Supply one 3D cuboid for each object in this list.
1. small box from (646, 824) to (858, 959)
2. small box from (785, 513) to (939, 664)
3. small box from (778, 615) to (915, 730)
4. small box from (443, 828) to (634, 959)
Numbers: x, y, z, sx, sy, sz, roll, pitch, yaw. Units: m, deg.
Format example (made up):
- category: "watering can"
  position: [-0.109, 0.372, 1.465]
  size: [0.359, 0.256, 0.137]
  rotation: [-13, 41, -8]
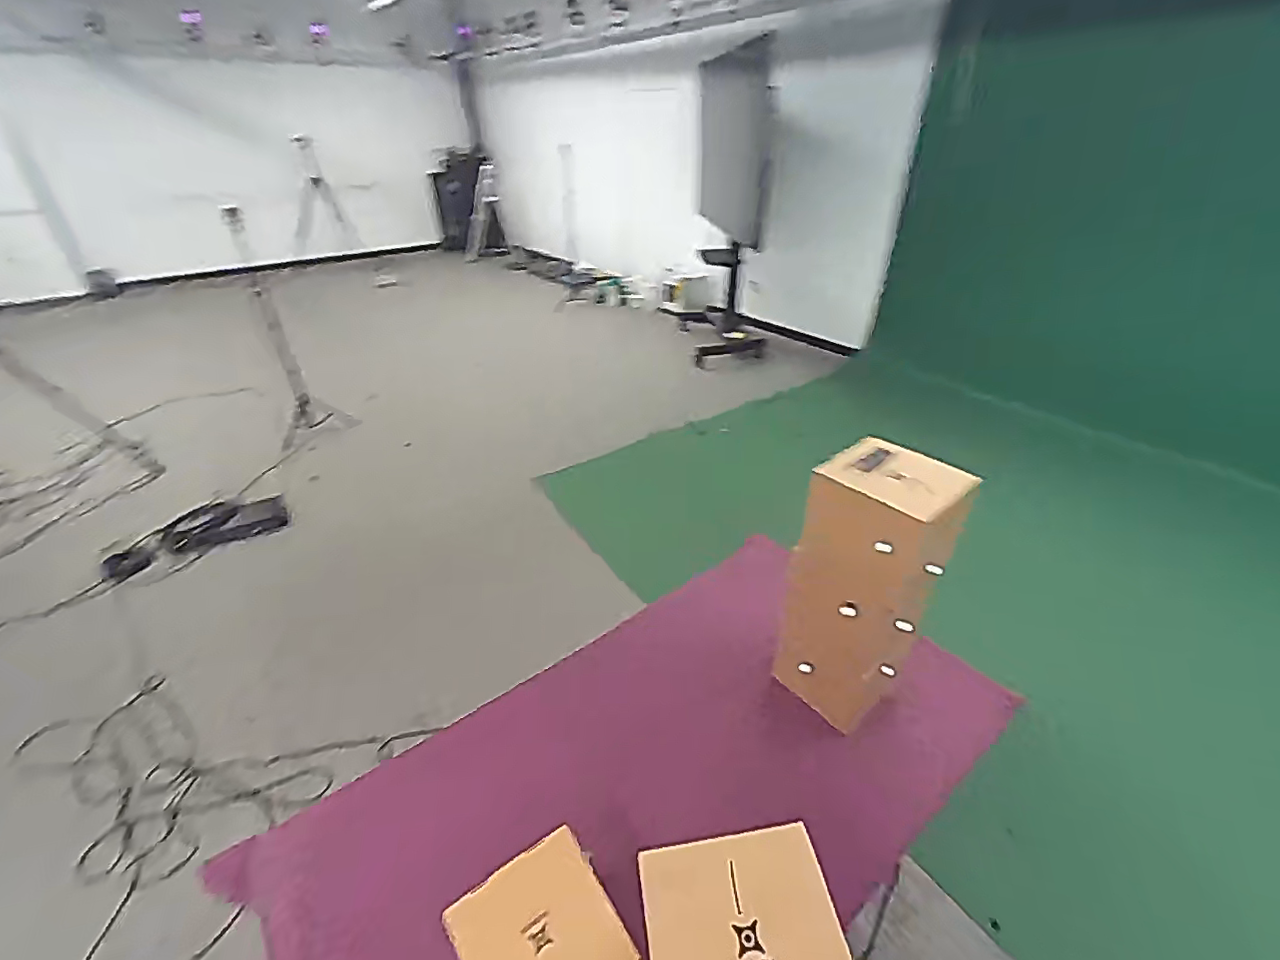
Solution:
- category: "small box"
  position: [0.100, 0.454, 0.493]
  size: [0.168, 0.176, 0.179]
  rotation: [-6, 36, -3]
- category: "small box"
  position: [0.376, 0.191, 0.941]
  size: [0.168, 0.176, 0.179]
  rotation: [-23, 38, -30]
- category: "small box"
  position: [0.382, 0.330, 1.030]
  size: [0.168, 0.176, 0.179]
  rotation: [-25, 39, -30]
- category: "small box"
  position: [-0.115, 0.586, 0.658]
  size: [0.168, 0.176, 0.179]
  rotation: [-23, 38, -29]
